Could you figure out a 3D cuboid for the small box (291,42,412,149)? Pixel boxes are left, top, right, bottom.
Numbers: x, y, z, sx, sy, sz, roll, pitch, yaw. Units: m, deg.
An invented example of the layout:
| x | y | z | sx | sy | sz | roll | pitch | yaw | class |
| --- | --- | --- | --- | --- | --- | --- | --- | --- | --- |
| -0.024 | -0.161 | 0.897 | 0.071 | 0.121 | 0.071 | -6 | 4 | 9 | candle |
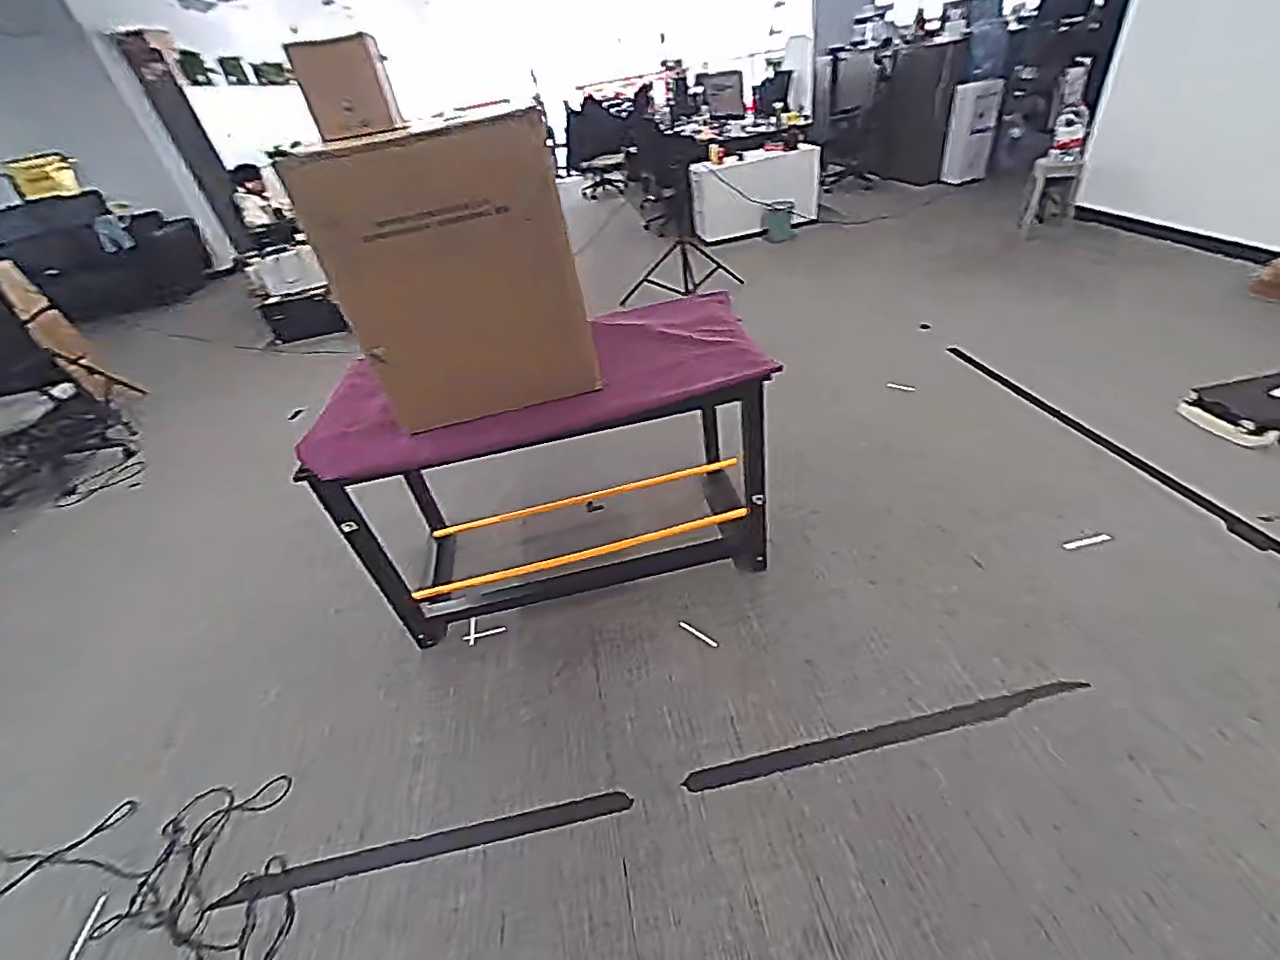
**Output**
| x | y | z | sx | sy | sz | roll | pitch | yaw | class |
| --- | --- | --- | --- | --- | --- | --- | --- | --- | --- |
| -0.622 | -0.844 | 1.194 | 0.168 | 0.176 | 0.179 | -14 | 38 | -4 | small box |
